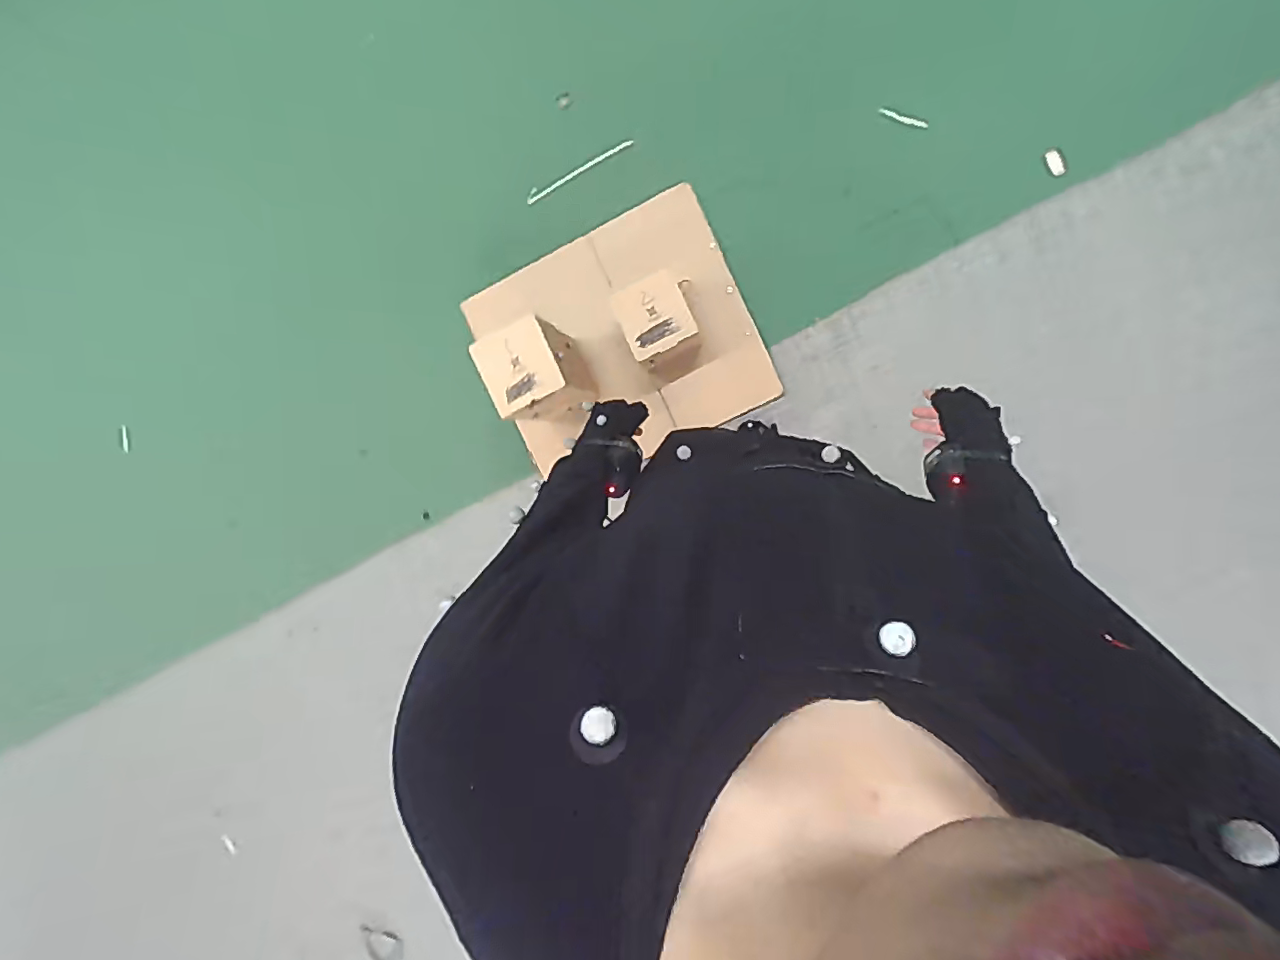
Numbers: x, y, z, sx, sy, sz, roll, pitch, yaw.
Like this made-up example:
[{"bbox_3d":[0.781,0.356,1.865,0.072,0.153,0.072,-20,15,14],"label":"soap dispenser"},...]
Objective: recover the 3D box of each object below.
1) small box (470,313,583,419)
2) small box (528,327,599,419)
[{"bbox_3d":[-0.249,-0.251,1.231,0.168,0.176,0.179,-25,91,10],"label":"small box"},{"bbox_3d":[-0.225,-0.266,1.392,0.168,0.176,0.179,-26,92,10],"label":"small box"}]
